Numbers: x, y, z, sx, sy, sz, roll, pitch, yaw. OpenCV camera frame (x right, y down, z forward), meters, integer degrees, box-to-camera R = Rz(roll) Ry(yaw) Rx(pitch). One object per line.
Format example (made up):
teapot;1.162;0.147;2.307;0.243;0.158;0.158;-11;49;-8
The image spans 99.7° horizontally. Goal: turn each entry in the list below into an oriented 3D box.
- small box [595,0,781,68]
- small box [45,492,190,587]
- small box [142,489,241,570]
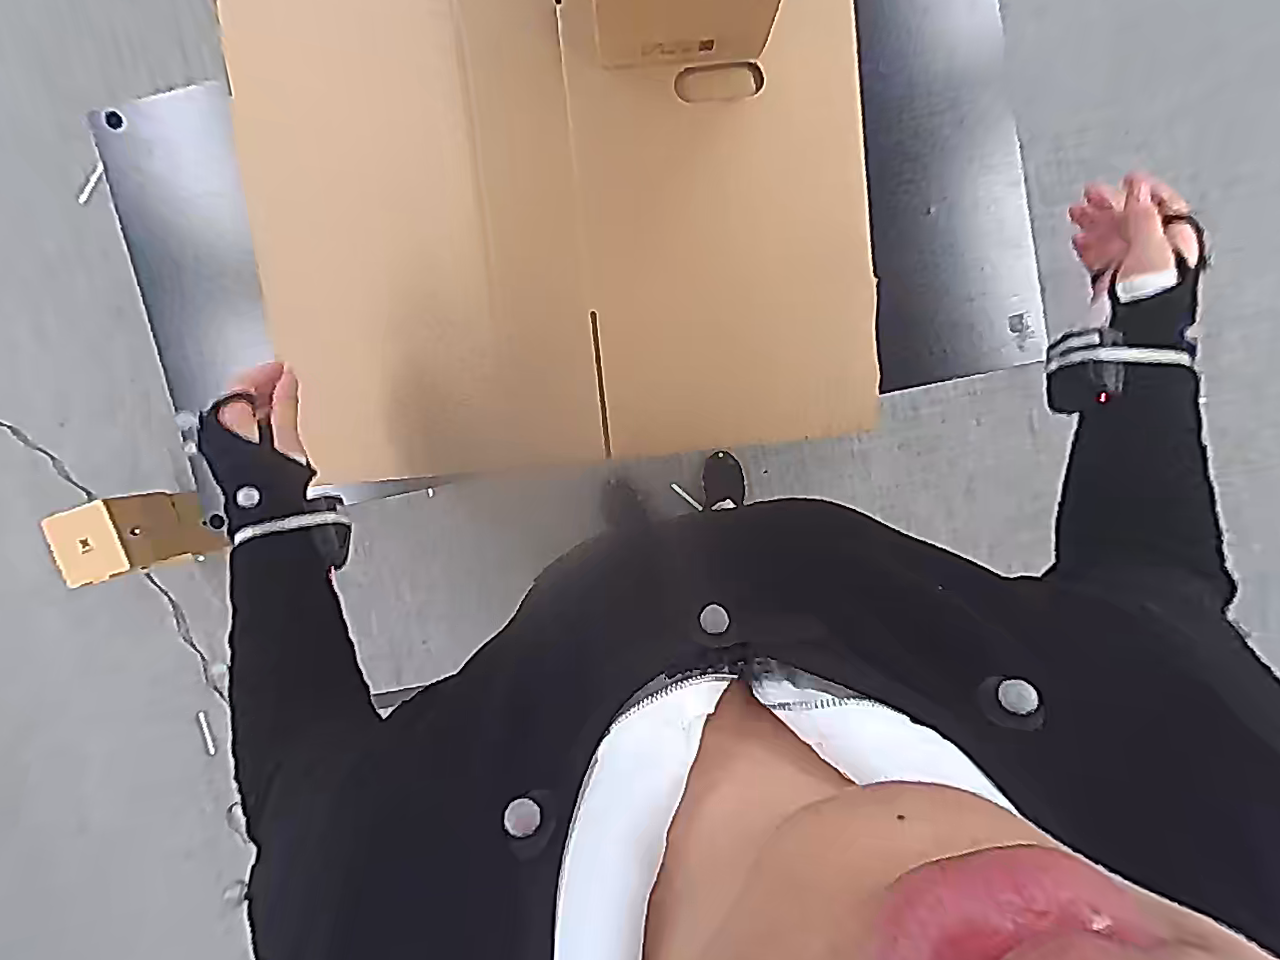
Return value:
small box;0.038;-0.498;0.455;0.168;0.176;0.179;-5;94;0
small box;-1.271;0.140;1.331;0.168;0.176;0.179;-19;93;4
small box;-1.259;0.129;1.493;0.168;0.176;0.179;-15;95;5
